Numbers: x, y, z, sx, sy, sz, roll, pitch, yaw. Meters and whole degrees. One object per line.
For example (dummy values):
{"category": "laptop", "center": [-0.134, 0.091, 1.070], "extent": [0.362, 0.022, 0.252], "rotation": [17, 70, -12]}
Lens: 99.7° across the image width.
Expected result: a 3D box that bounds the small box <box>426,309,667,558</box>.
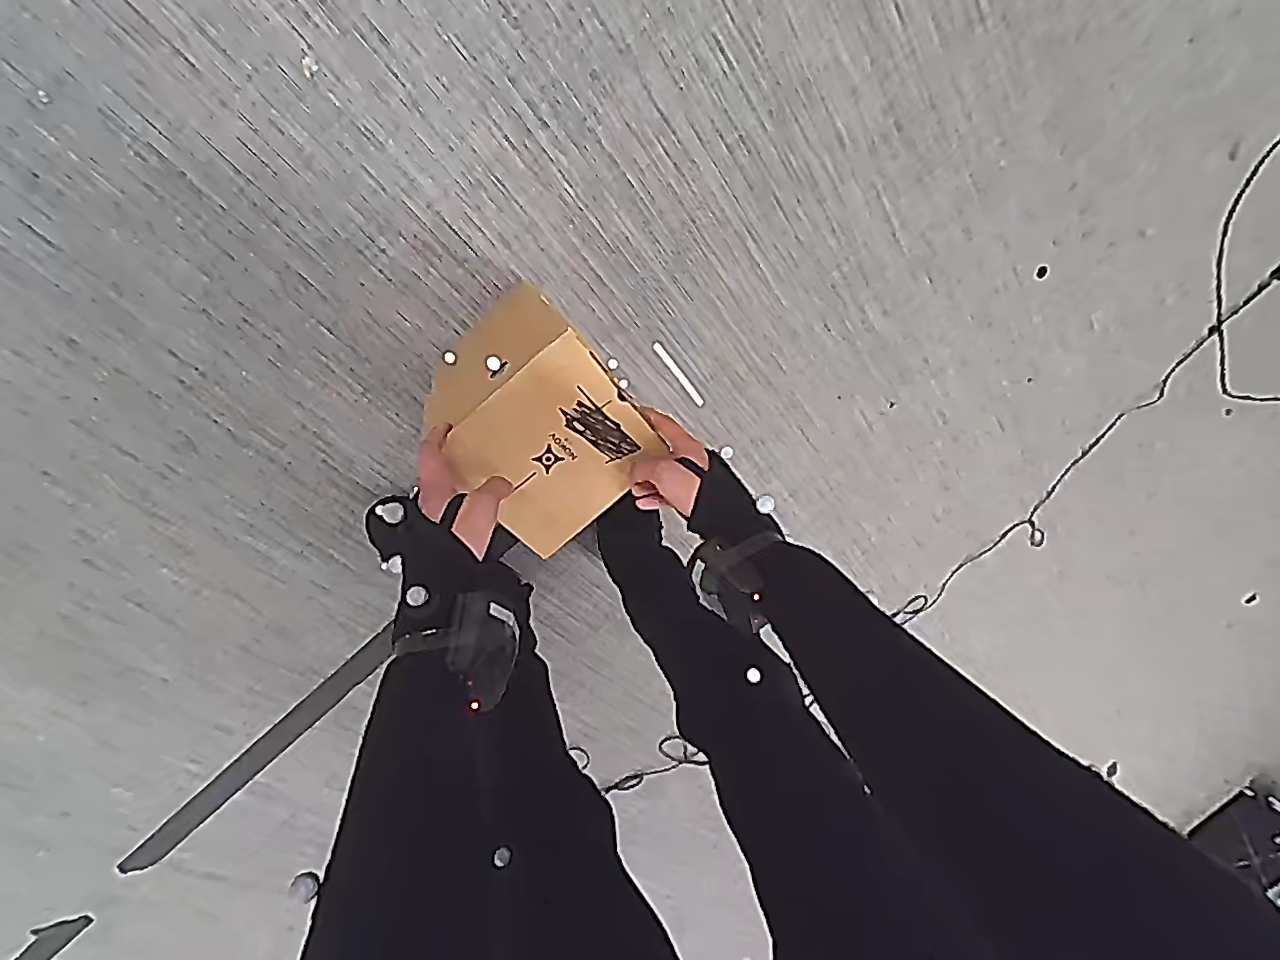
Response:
{"category": "small box", "center": [-0.106, -0.058, 0.579], "extent": [0.179, 0.176, 0.168], "rotation": [-40, 121, 3]}
